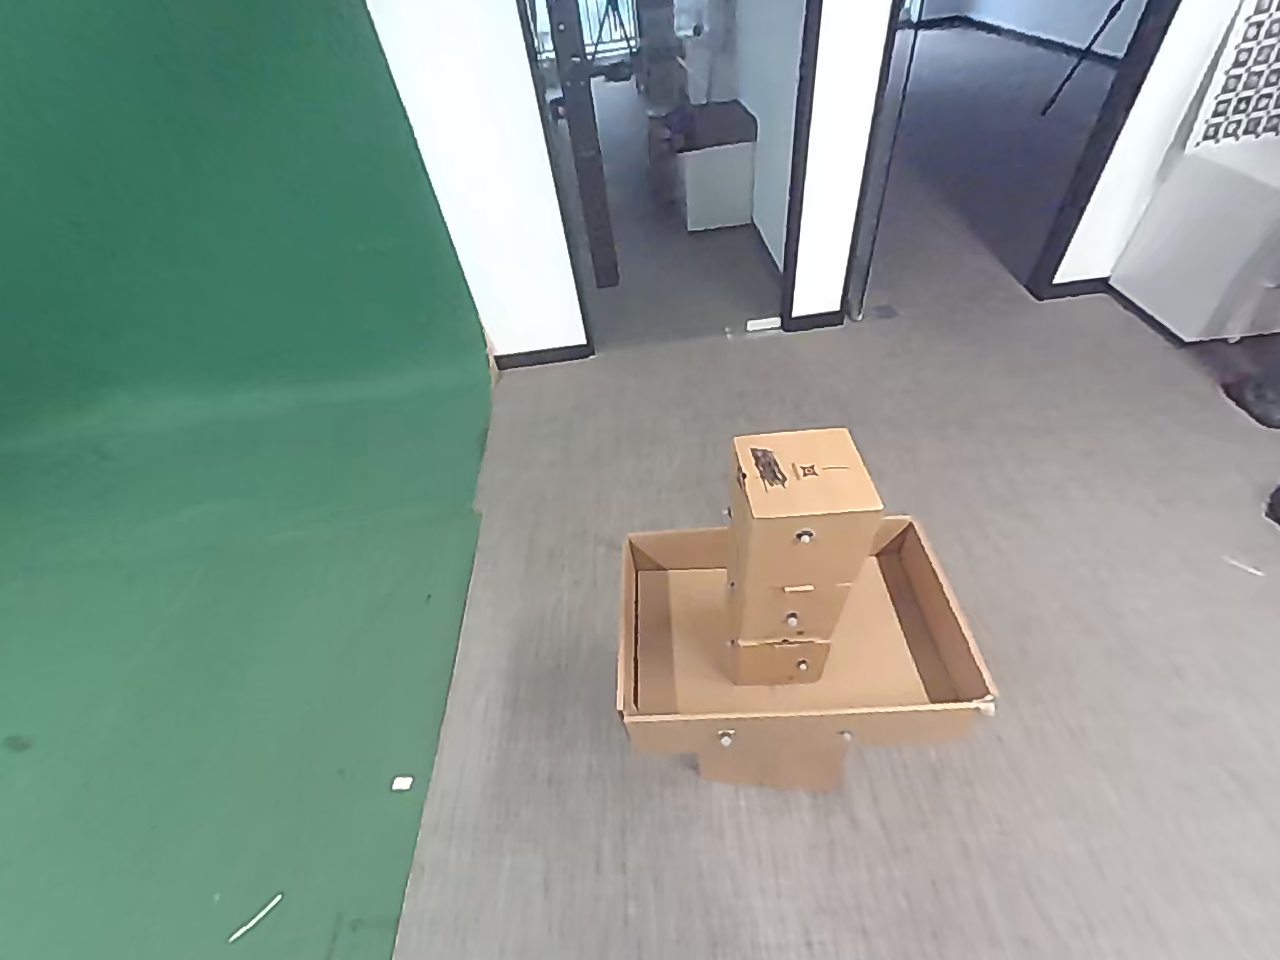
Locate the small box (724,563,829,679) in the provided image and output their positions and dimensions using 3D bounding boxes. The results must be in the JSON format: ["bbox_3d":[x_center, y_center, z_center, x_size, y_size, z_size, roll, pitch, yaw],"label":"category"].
[{"bbox_3d":[0.256,0.276,1.057,0.168,0.176,0.179,-4,44,2],"label":"small box"}]

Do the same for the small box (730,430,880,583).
[{"bbox_3d":[0.234,0.044,0.825,0.179,0.176,0.168,-4,46,1],"label":"small box"}]

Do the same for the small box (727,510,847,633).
[{"bbox_3d":[0.245,0.156,0.945,0.168,0.176,0.179,-3,47,2],"label":"small box"}]
